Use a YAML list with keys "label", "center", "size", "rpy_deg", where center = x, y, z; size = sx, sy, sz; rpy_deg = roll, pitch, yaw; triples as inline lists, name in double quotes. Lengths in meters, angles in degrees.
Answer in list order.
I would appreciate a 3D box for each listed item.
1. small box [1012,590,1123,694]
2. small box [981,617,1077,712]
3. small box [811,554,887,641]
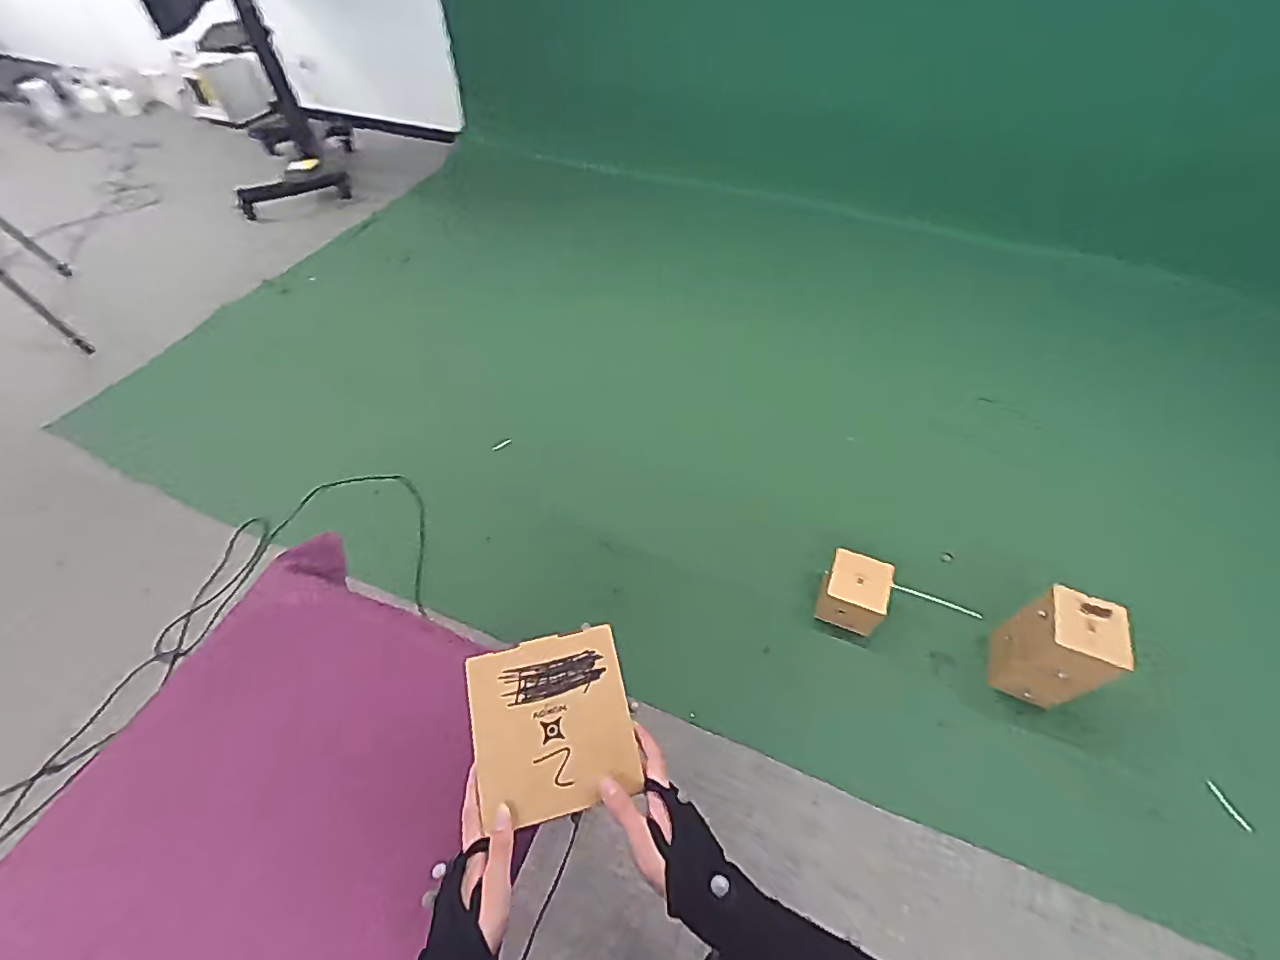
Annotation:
- label: "small box"
  center: [1.100, 0.424, 1.405]
  size: [0.168, 0.176, 0.179]
  rpy_deg: [19, 54, 14]
- label: "small box"
  center: [1.096, 0.525, 1.534]
  size: [0.168, 0.176, 0.179]
  rpy_deg: [20, 54, 14]
- label: "small box"
  center: [0.636, 0.365, 1.661]
  size: [0.168, 0.176, 0.179]
  rpy_deg: [18, 53, 14]
